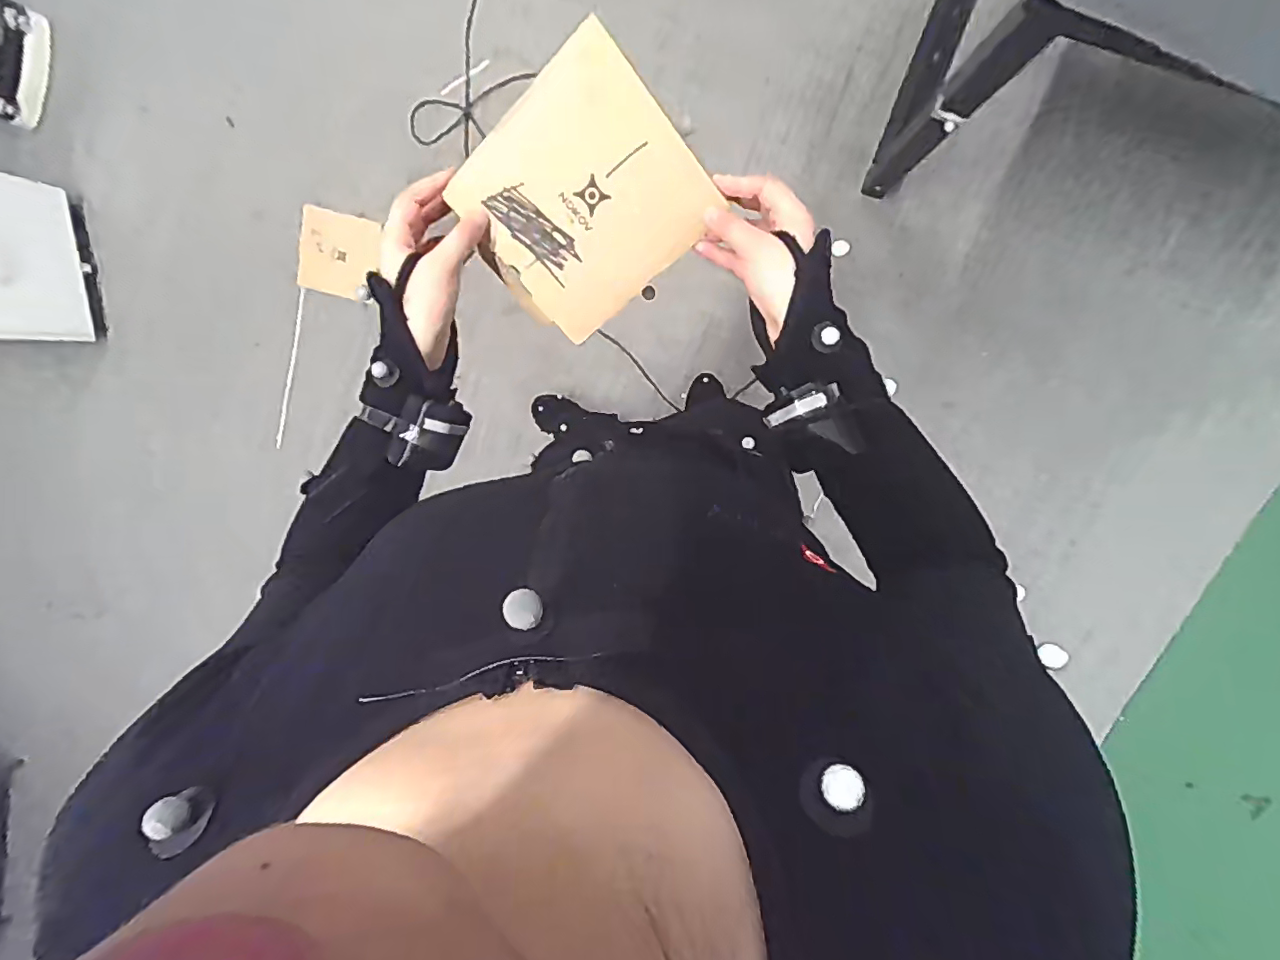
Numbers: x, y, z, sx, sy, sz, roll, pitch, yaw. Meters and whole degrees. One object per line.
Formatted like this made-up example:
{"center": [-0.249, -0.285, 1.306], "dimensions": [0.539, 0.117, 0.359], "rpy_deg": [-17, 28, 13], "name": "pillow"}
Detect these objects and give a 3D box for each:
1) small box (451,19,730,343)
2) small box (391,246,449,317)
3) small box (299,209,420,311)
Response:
{"center": [-0.034, -0.262, 0.507], "dimensions": [0.179, 0.176, 0.168], "rpy_deg": [-36, 110, 21], "name": "small box"}
{"center": [-0.609, -0.517, 1.369], "dimensions": [0.179, 0.176, 0.168], "rpy_deg": [17, 105, 3], "name": "small box"}
{"center": [-0.618, -0.482, 1.208], "dimensions": [0.179, 0.176, 0.168], "rpy_deg": [15, 104, 4], "name": "small box"}
